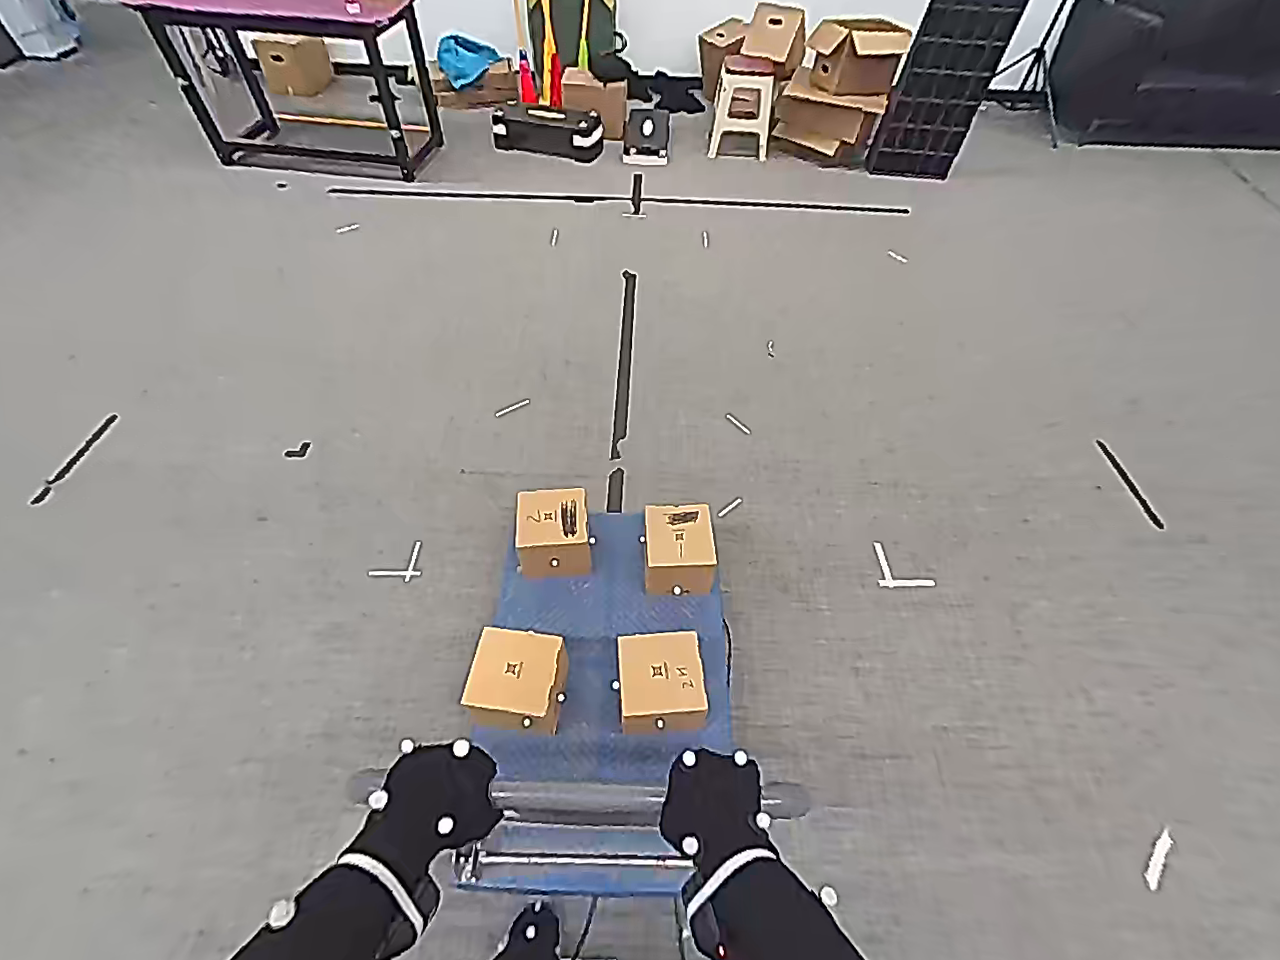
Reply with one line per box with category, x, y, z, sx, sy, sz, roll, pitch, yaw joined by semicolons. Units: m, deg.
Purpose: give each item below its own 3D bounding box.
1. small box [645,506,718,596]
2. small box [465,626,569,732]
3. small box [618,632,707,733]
small box;0.100;0.185;1.399;0.168;0.176;0.179;-1;54;-2
small box;-0.261;0.443;1.193;0.179;0.176;0.168;7;52;2
small box;0.045;0.450;1.195;0.179;0.176;0.168;-3;53;-4
